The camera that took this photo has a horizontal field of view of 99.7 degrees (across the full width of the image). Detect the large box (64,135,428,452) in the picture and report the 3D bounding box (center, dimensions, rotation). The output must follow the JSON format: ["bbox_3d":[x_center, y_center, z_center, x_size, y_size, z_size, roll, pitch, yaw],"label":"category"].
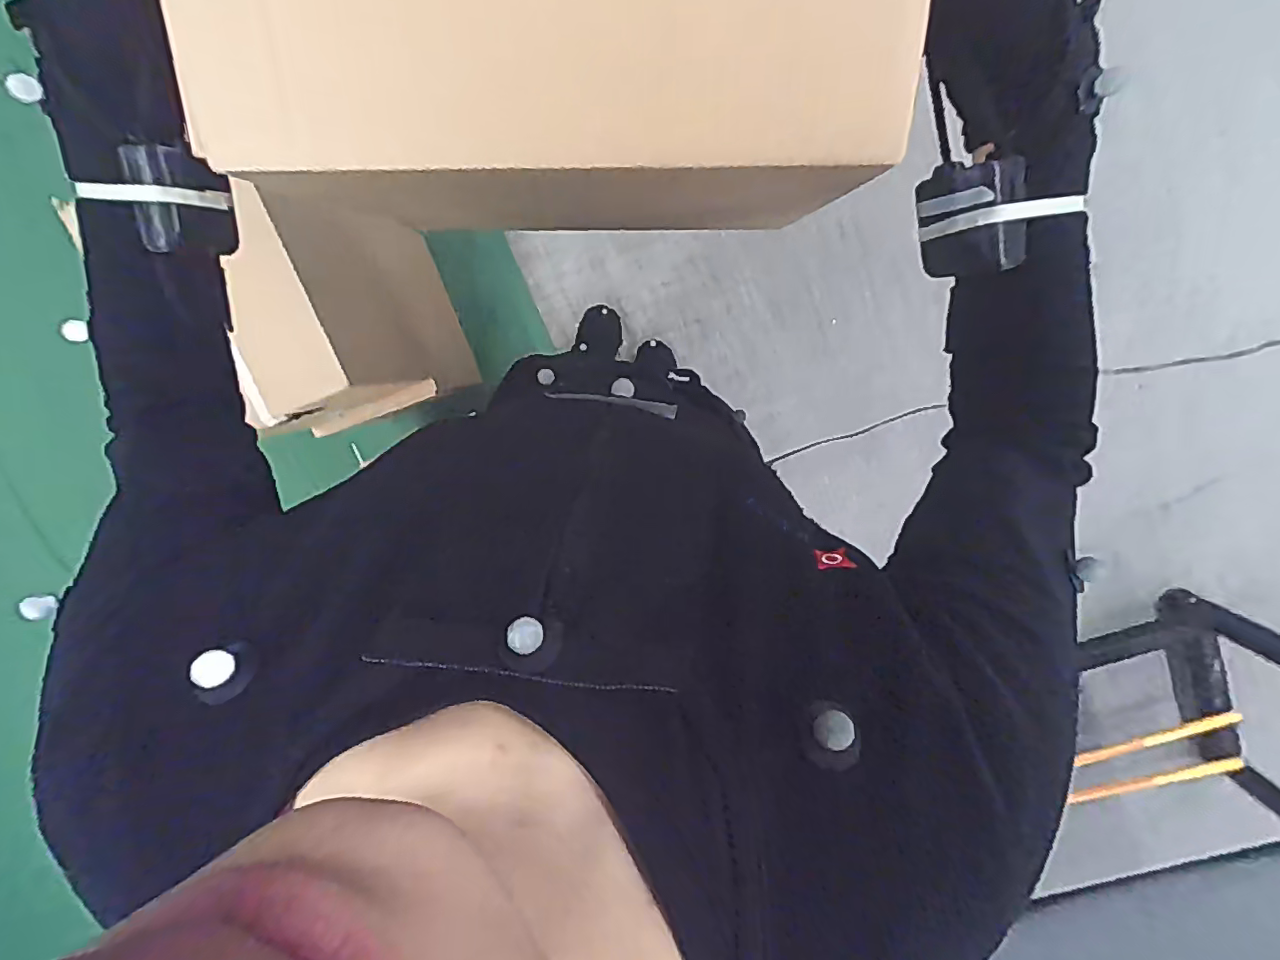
[{"bbox_3d":[-0.664,-0.305,0.989,0.320,0.320,0.408,-20,100,6],"label":"large box"}]
